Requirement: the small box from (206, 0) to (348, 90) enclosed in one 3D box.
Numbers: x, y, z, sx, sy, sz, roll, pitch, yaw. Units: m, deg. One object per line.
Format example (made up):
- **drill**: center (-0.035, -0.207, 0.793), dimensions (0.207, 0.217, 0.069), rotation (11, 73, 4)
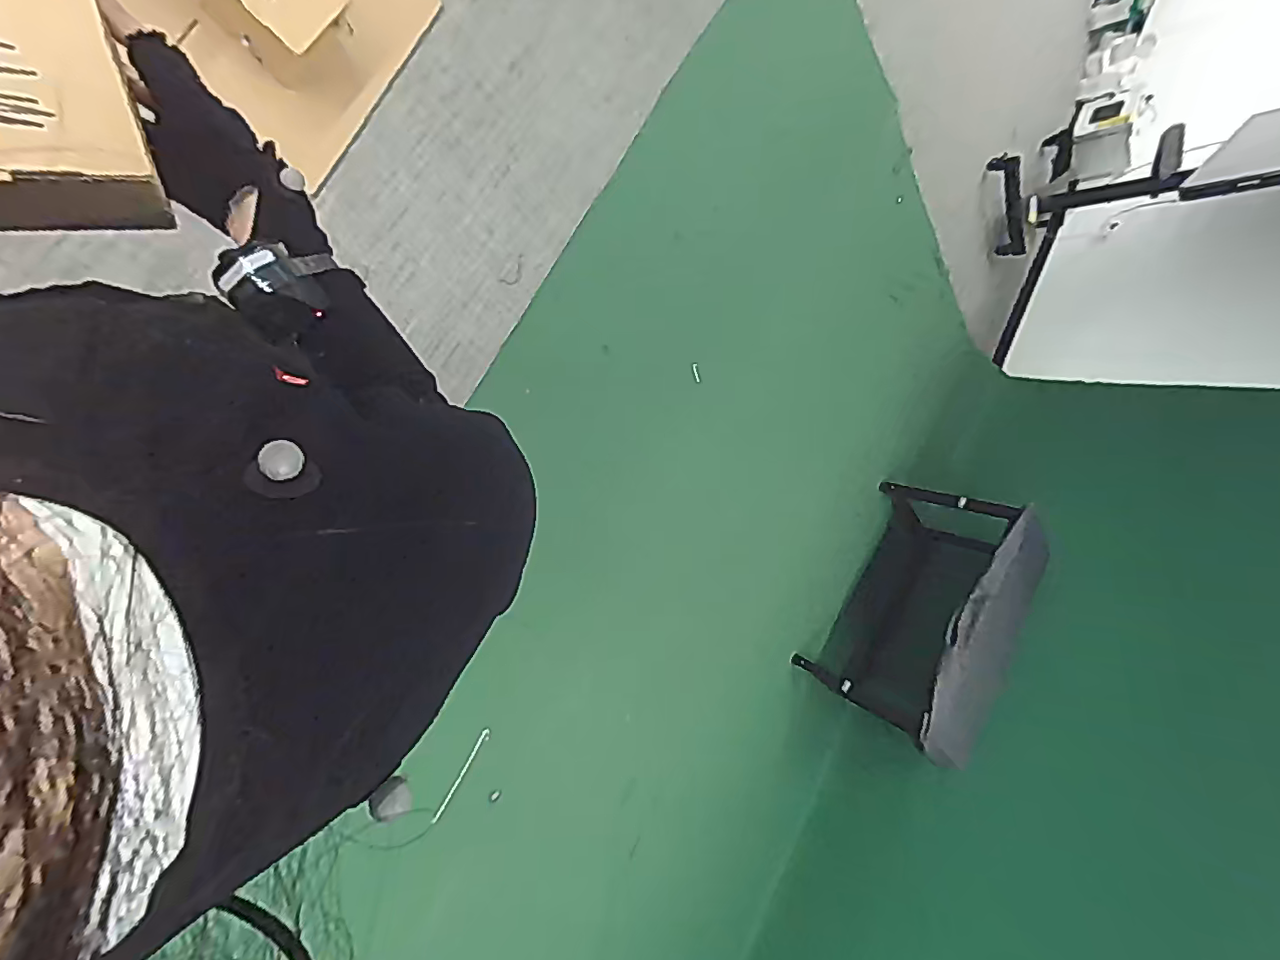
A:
- **small box**: center (-0.716, -0.924, 1.060), dimensions (0.168, 0.176, 0.179), rotation (39, 75, -38)
